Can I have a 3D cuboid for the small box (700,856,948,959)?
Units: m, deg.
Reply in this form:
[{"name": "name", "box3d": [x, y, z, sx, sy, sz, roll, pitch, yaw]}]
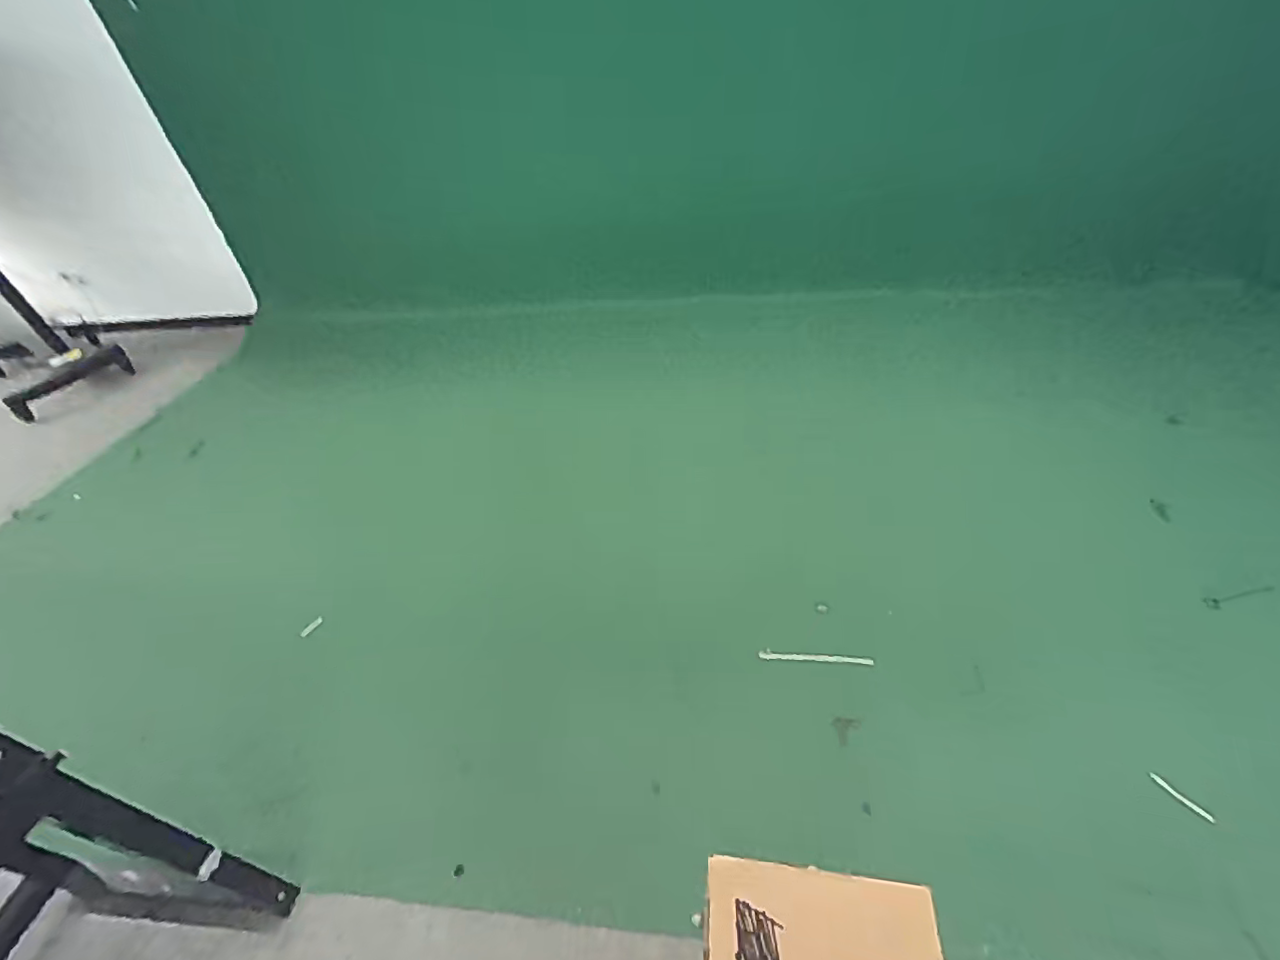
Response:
[{"name": "small box", "box3d": [0.134, 0.422, 0.425, 0.179, 0.176, 0.168, 3, 46, 8]}]
